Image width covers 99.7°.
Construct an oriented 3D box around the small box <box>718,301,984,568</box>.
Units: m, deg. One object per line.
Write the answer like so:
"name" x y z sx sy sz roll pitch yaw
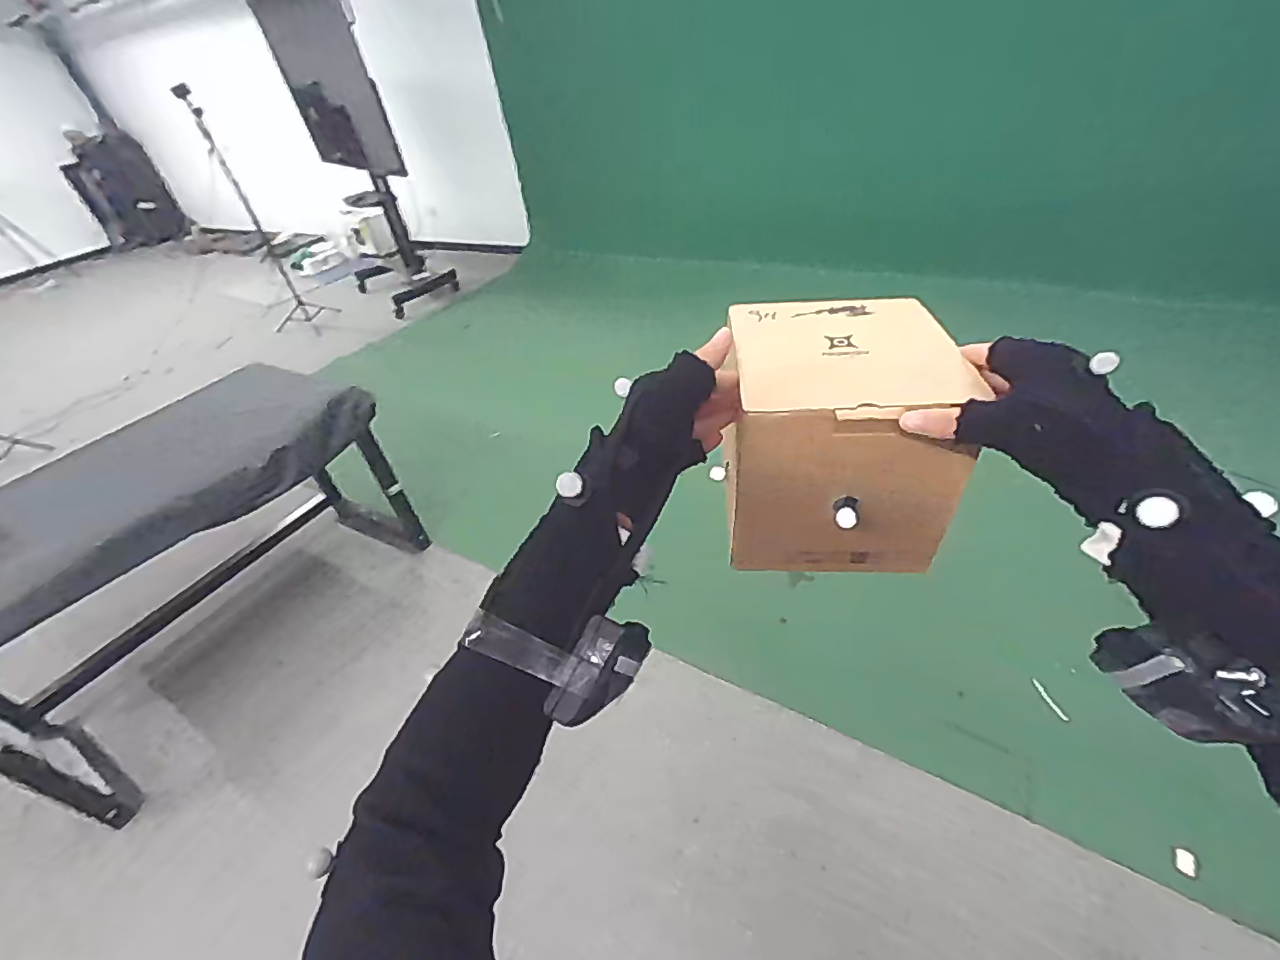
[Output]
"small box" 0.156 -0.038 0.474 0.168 0.176 0.179 0 42 5
